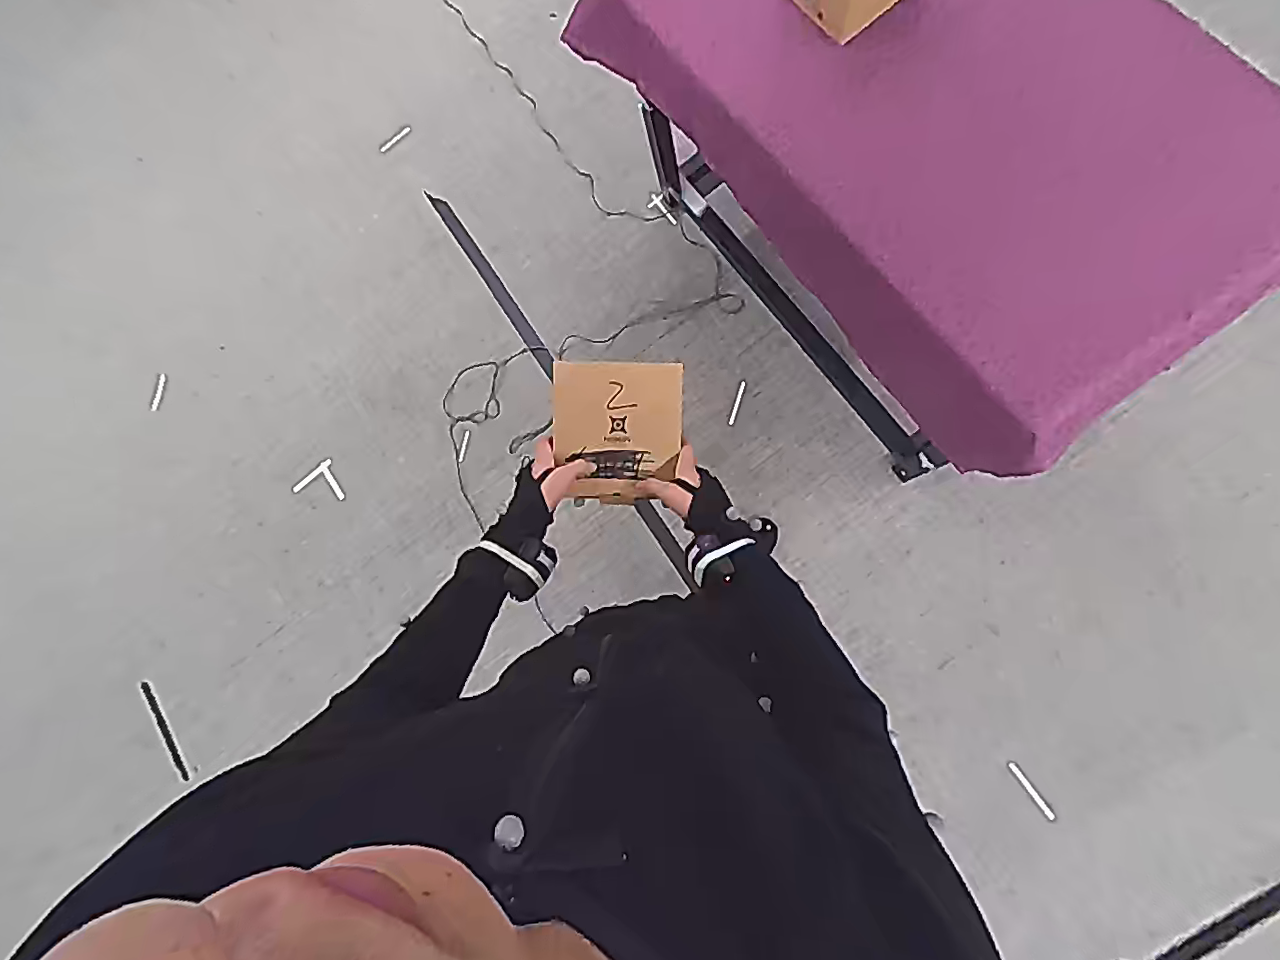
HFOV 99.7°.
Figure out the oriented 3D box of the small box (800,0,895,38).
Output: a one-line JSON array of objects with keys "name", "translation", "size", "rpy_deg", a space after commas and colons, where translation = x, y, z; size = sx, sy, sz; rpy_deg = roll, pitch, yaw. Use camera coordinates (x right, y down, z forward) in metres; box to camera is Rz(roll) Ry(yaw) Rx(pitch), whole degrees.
[{"name": "small box", "translation": [0.363, -0.891, 0.878], "size": [0.179, 0.176, 0.168], "rpy_deg": [-37, 77, 5]}]
